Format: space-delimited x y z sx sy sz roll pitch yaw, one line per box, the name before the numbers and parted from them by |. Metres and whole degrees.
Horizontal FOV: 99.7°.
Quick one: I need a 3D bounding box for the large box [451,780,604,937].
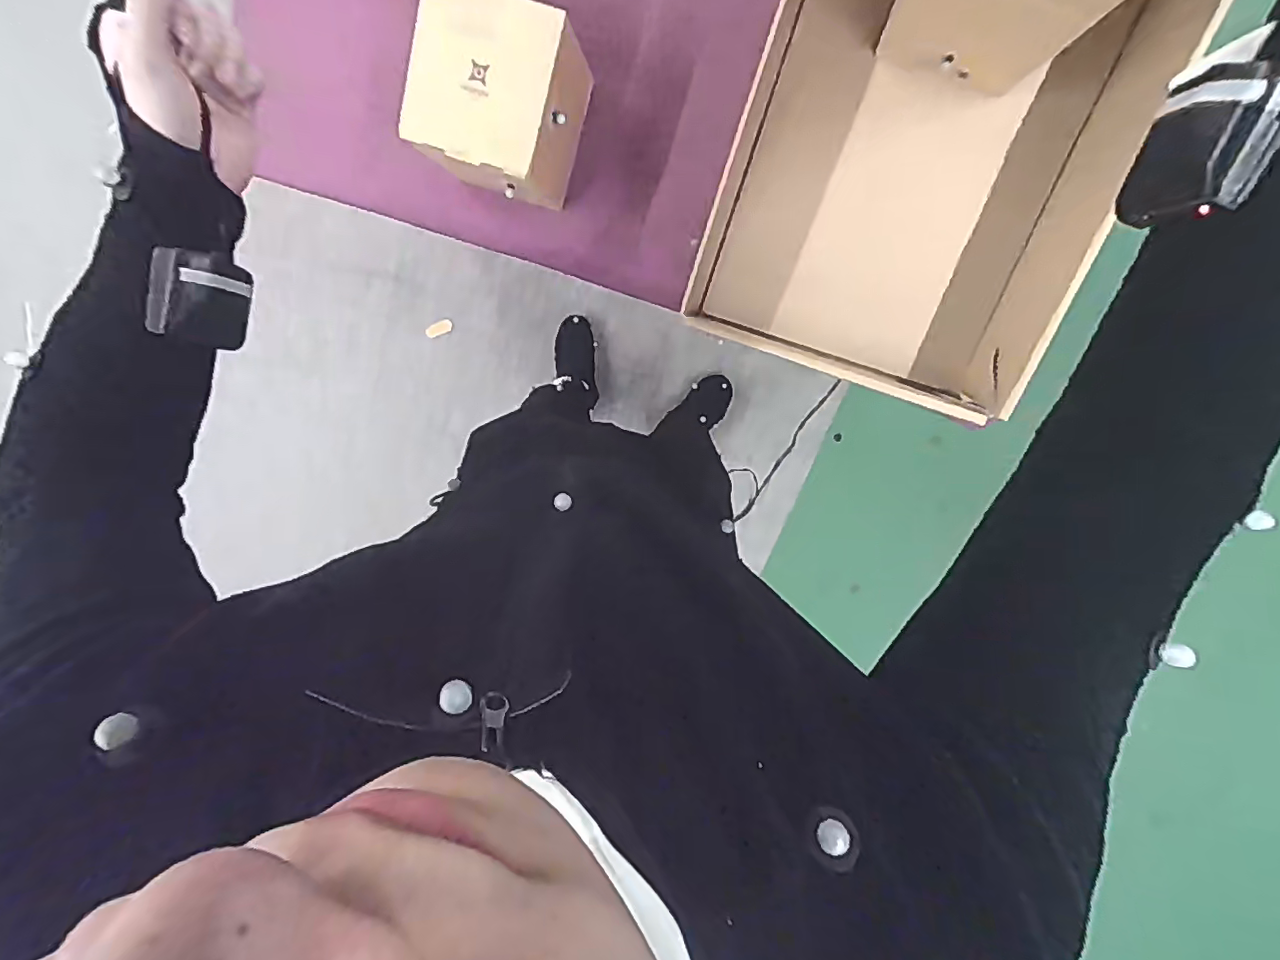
large box | -0.374 1.315 1.897 0.408 0.320 0.320 -12 104 9
